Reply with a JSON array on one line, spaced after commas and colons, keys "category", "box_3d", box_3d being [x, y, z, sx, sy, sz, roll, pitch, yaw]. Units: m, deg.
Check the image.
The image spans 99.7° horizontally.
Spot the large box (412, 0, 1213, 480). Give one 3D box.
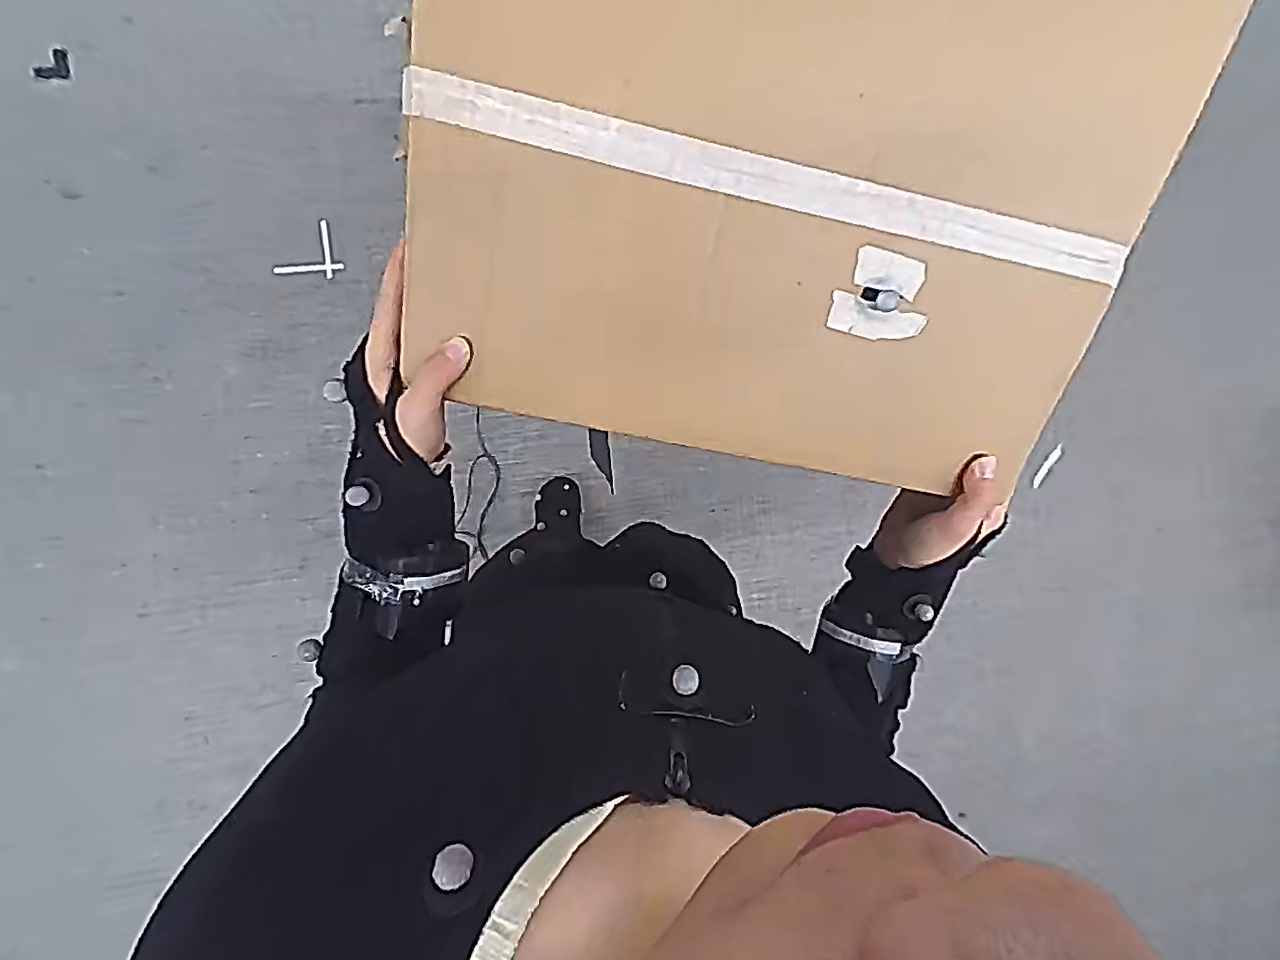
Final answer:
[{"category": "large box", "box_3d": [0.070, -0.221, 0.437, 0.408, 0.320, 0.320, 9, 112, -7]}]
